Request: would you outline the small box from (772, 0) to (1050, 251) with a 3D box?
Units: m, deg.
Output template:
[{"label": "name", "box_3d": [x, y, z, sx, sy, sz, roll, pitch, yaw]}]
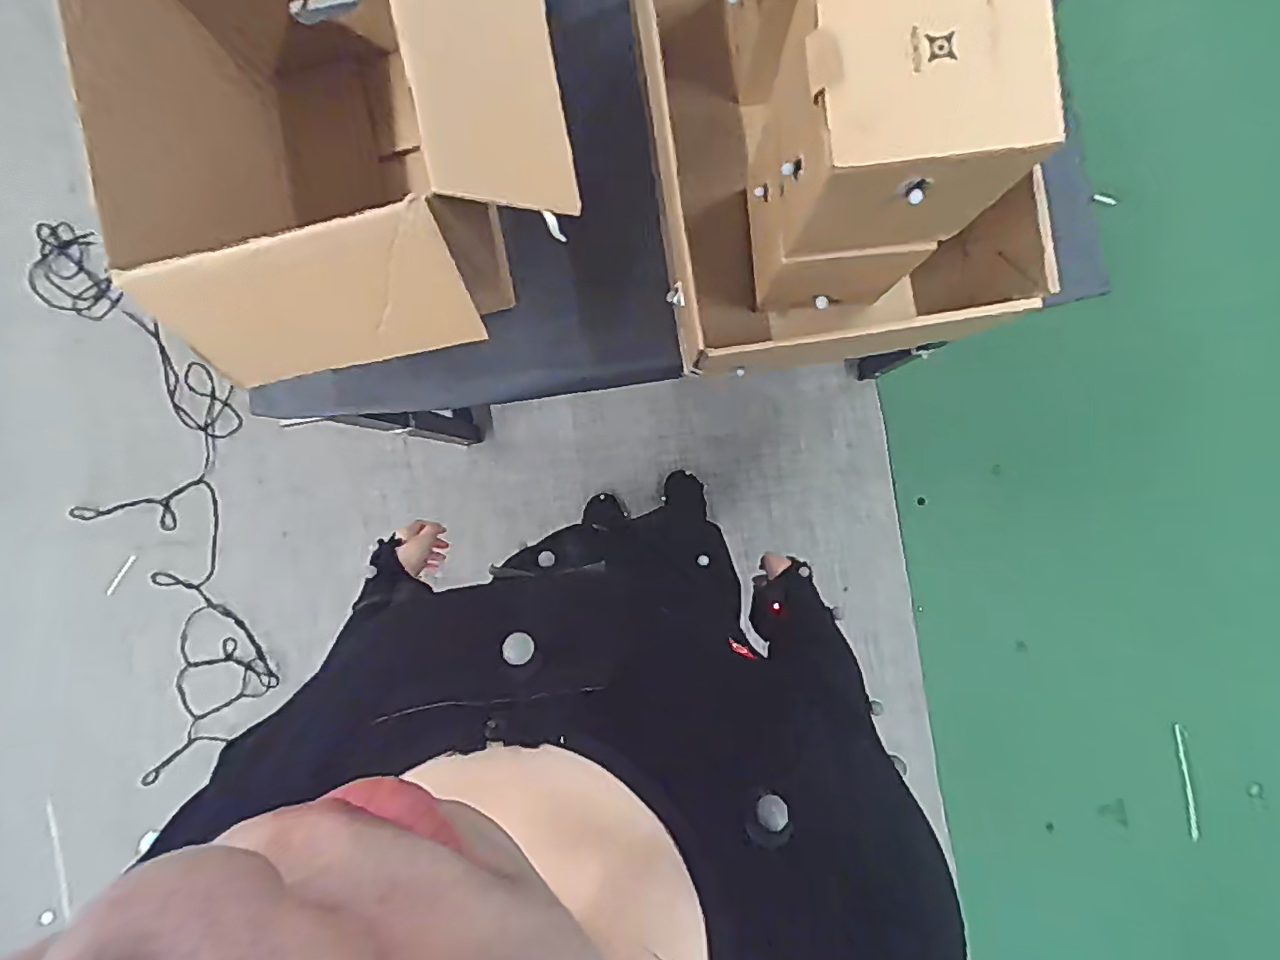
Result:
[{"label": "small box", "box_3d": [0.224, -0.328, 0.497, 0.179, 0.176, 0.168, -5, 91, 1]}]
